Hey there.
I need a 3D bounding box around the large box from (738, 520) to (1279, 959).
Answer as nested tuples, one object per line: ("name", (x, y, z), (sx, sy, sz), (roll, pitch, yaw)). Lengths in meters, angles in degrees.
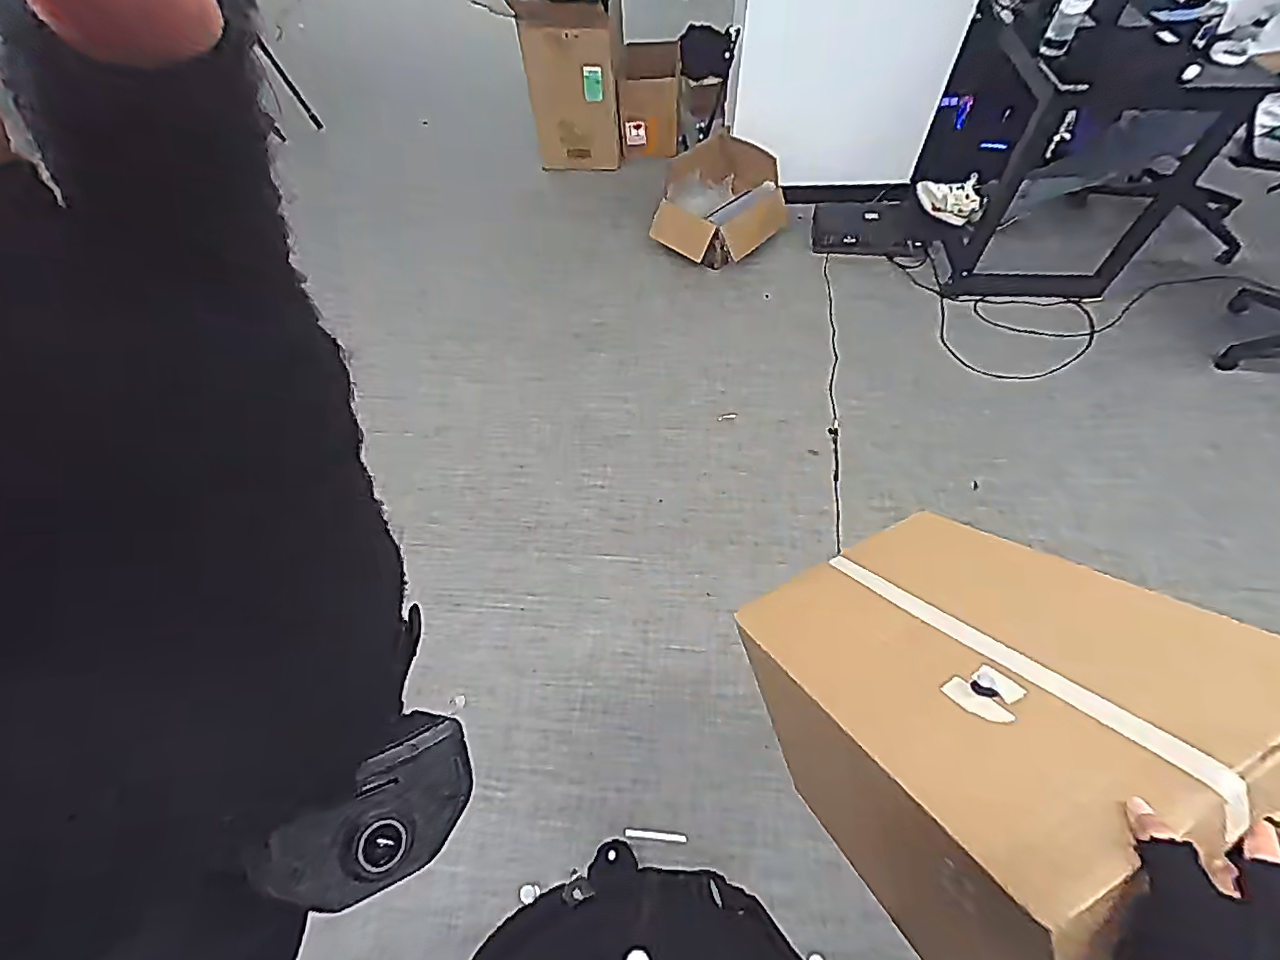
("large box", (0.365, 0.289, 0.583), (0.320, 0.320, 0.408), (-25, 19, -11))
